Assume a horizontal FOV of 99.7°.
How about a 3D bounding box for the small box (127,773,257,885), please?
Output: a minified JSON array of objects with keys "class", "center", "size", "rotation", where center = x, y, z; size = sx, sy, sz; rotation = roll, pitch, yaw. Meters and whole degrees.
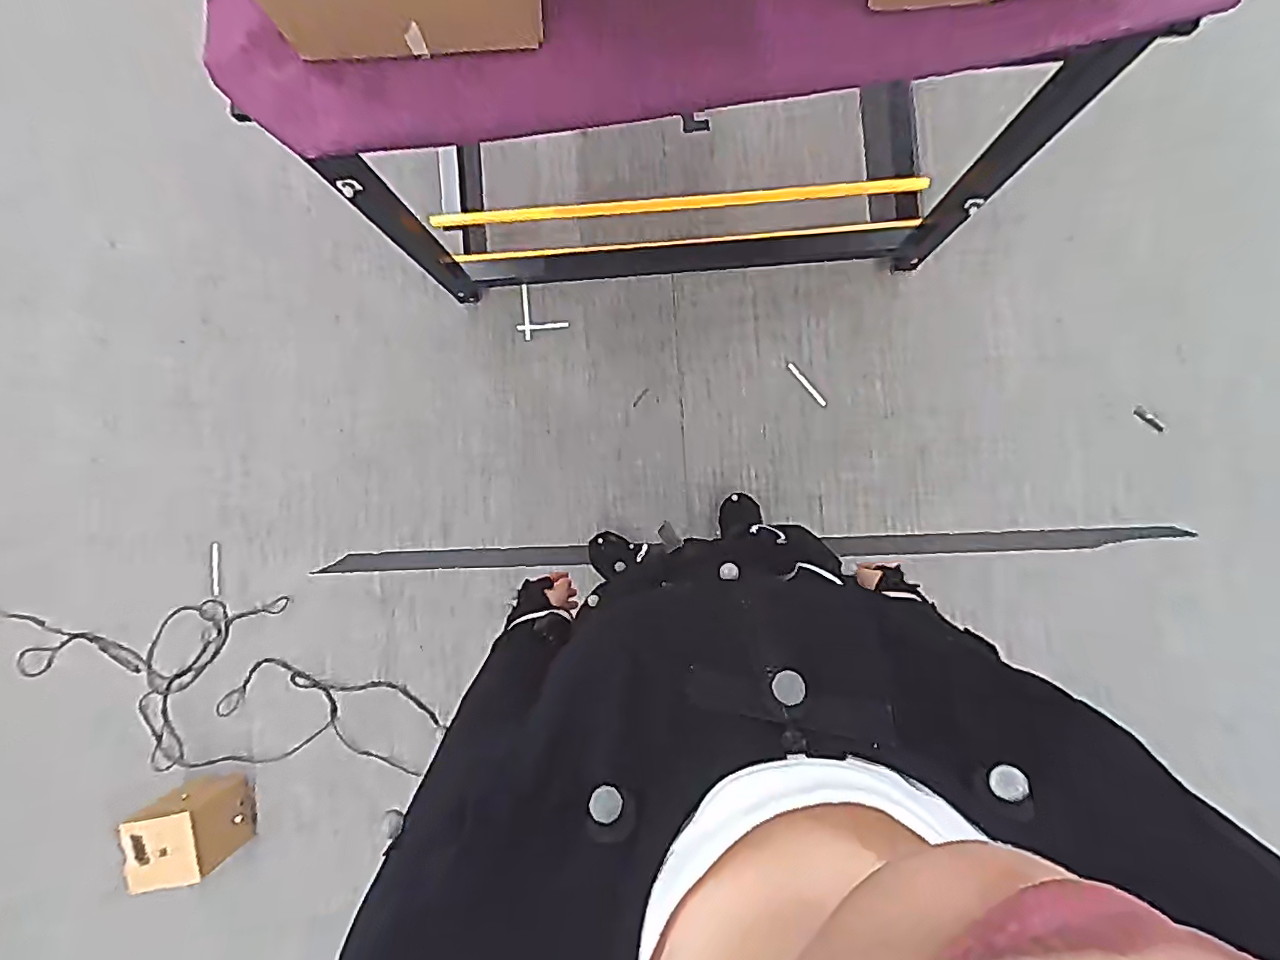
[{"class":"small box","center":[-1.110,0.862,1.350],"size":[0.179,0.176,0.168],"rotation":[-10,89,2]}]
